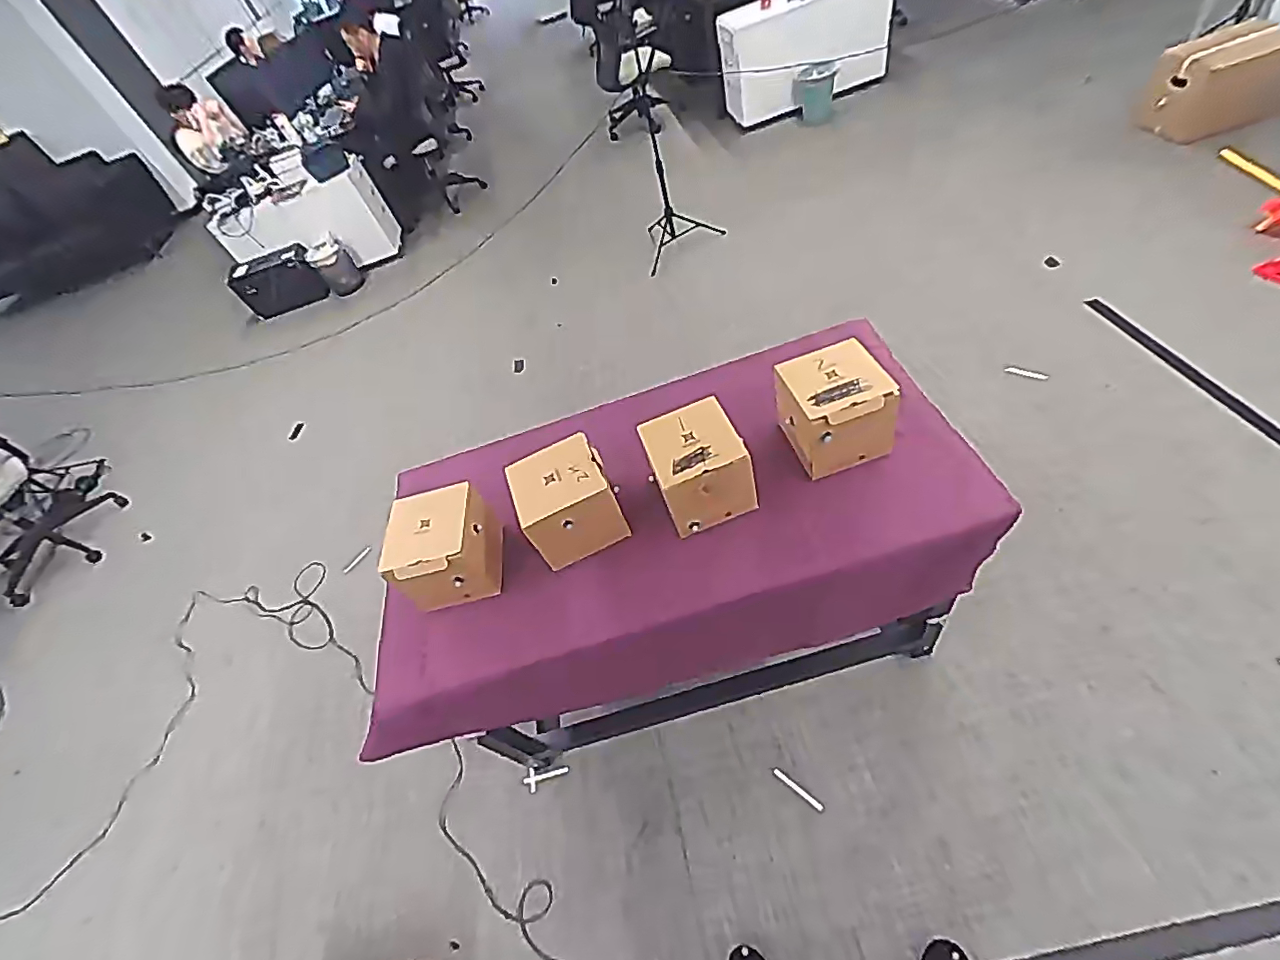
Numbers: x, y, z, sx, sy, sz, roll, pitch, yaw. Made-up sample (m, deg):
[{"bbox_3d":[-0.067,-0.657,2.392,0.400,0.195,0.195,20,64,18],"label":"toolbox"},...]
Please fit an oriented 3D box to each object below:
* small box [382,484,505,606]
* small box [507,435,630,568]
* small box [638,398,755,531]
[{"bbox_3d":[-0.384,0.139,1.092,0.168,0.176,0.179,-14,50,6],"label":"small box"},{"bbox_3d":[-0.140,0.048,1.084,0.179,0.176,0.168,-25,50,-3],"label":"small box"},{"bbox_3d":[0.115,-0.022,1.057,0.168,0.176,0.179,-22,49,0],"label":"small box"}]
